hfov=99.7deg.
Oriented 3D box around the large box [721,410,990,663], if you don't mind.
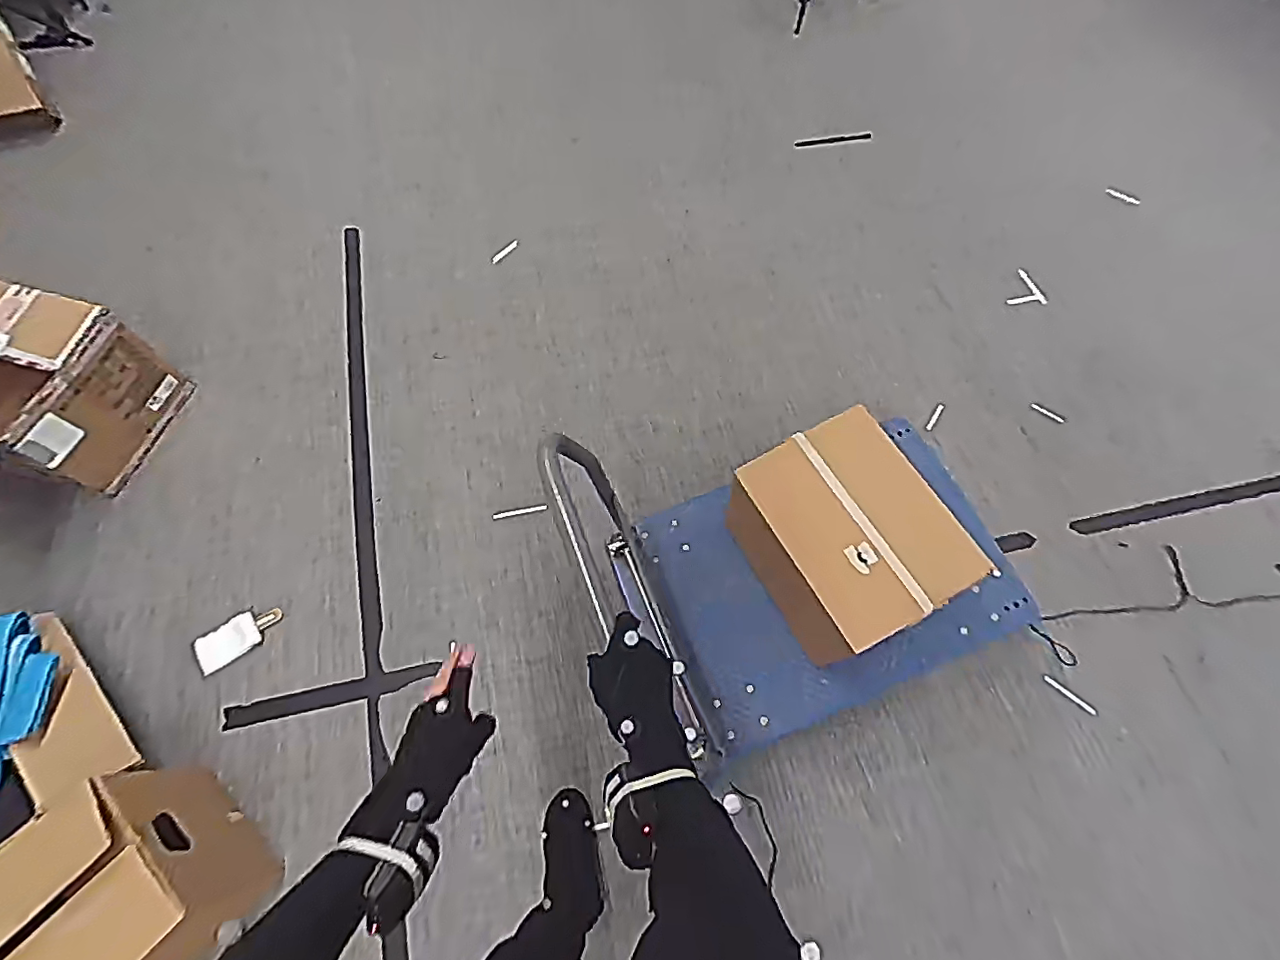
[{"bbox_3d":[0.420,0.133,1.174,0.320,0.320,0.408,-28,69,-8],"label":"large box"}]
